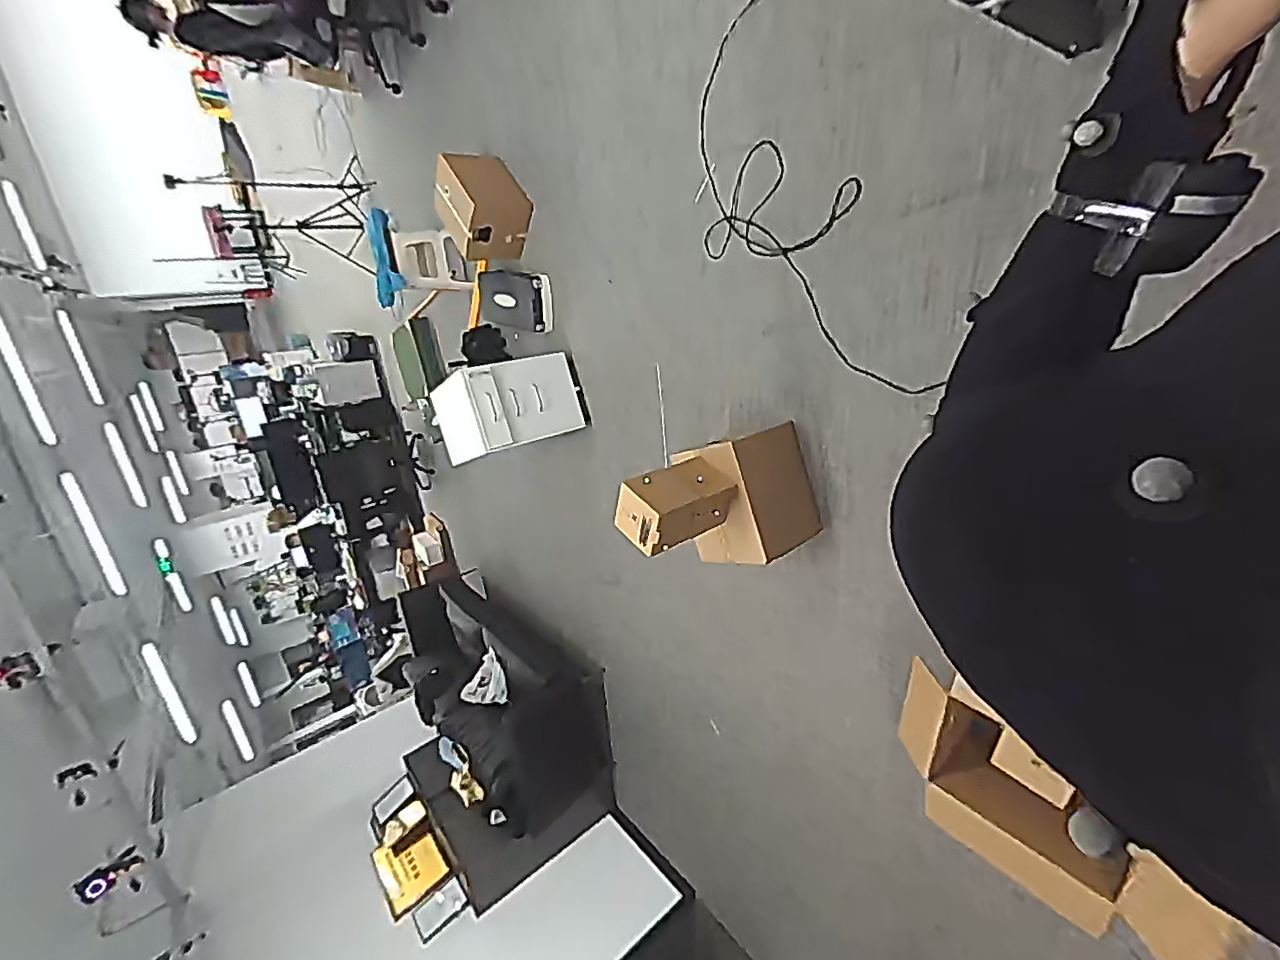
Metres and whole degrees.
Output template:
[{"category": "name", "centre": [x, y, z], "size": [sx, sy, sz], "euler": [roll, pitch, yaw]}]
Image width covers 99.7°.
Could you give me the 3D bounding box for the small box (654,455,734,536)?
[{"category": "small box", "centre": [0.173, 0.041, 1.723], "size": [0.179, 0.176, 0.168], "euler": [39, 134, 33]}]
